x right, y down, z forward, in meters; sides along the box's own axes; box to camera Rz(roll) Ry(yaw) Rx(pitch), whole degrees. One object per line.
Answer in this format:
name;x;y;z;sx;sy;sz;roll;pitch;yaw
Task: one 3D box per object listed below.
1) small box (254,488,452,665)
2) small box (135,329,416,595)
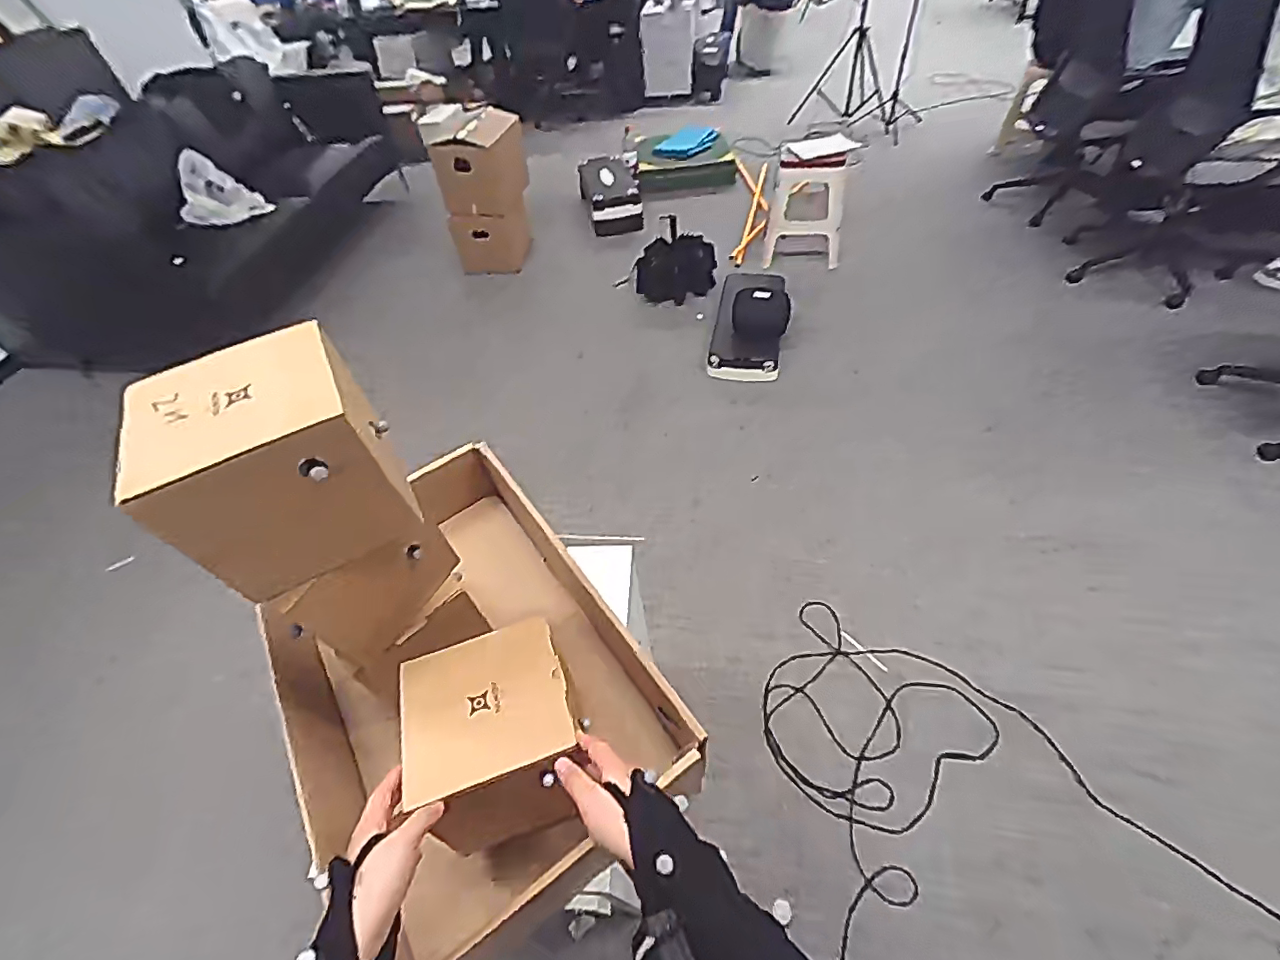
small box;-0.362;0.095;0.675;0.168;0.176;0.179;20;57;23
small box;-0.351;-0.017;0.552;0.179;0.176;0.168;-27;52;-14
